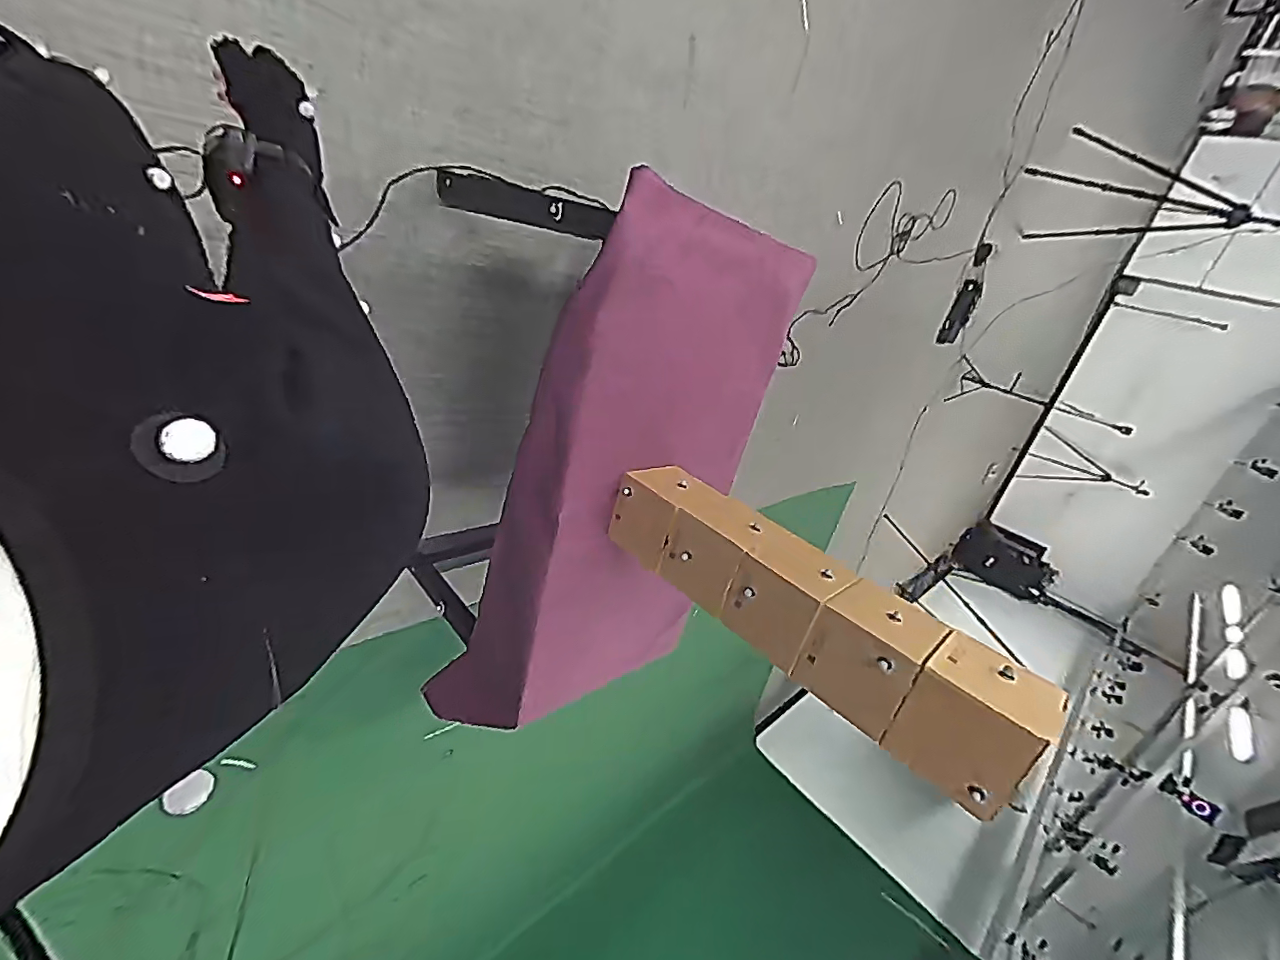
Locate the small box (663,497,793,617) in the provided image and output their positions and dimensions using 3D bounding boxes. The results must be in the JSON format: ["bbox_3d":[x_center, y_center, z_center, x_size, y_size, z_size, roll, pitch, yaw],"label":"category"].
[{"bbox_3d":[0.179,0.148,1.122,0.179,0.176,0.168,-9,122,-44],"label":"small box"}]

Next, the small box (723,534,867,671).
[{"bbox_3d":[0.290,0.220,1.027,0.179,0.176,0.168,-9,122,-44],"label":"small box"}]

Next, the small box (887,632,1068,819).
[{"bbox_3d":[0.514,0.360,0.835,0.168,0.176,0.179,-11,124,-45],"label":"small box"}]

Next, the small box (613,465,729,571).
[{"bbox_3d":[0.064,0.078,1.216,0.179,0.176,0.168,-9,123,-45],"label":"small box"}]
